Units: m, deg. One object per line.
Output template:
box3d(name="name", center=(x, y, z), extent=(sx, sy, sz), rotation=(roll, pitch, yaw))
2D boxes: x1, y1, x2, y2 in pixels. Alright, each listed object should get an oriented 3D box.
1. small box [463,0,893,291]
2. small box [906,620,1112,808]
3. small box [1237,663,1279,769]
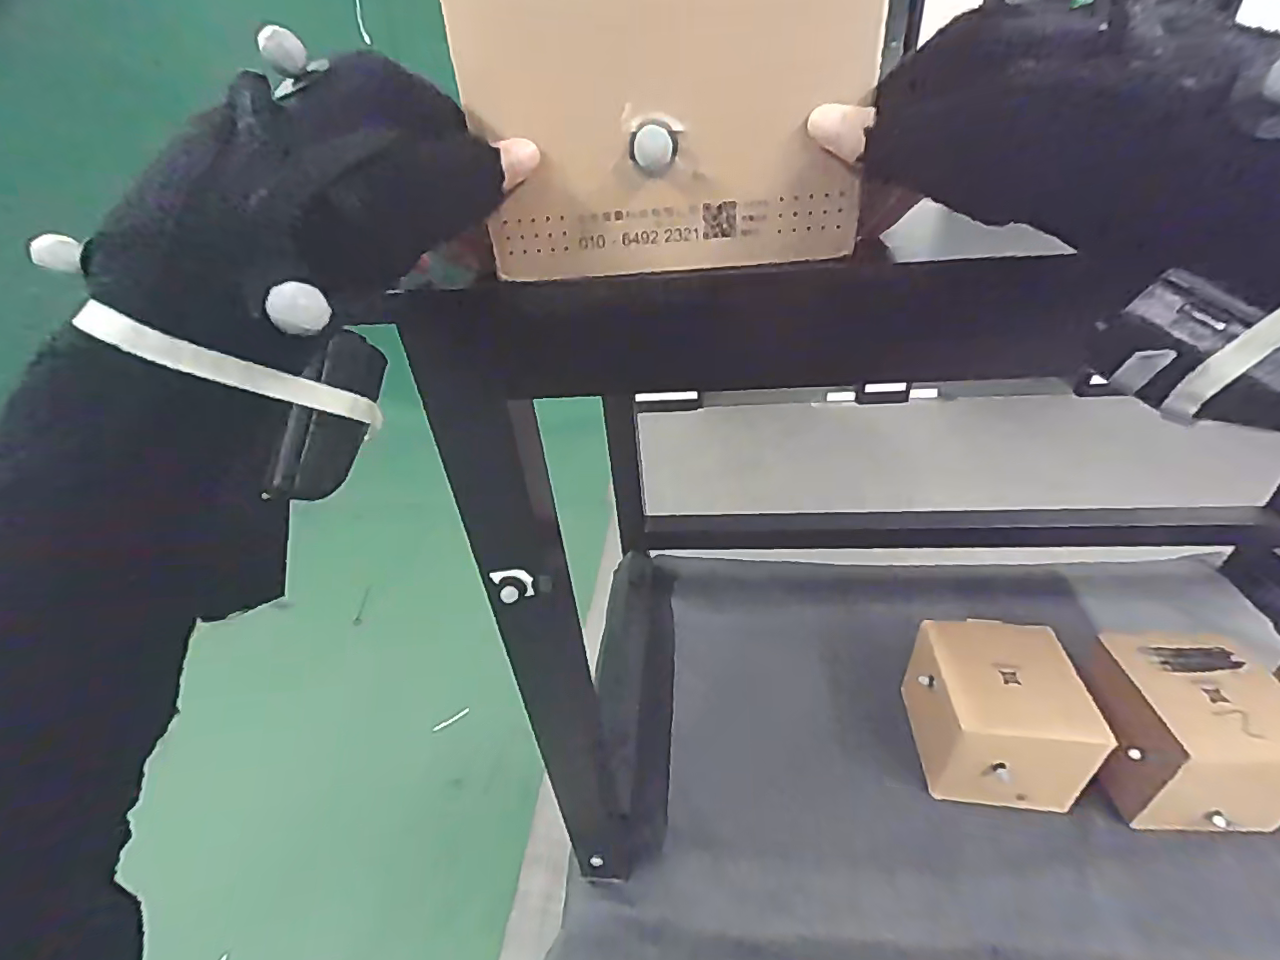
box3d(name="small box", center=(0.015, -0.205, 0.278), extent=(0.168, 0.176, 0.179), rotation=(-3, 35, 3))
box3d(name="small box", center=(0.484, 0.319, 0.744), extent=(0.168, 0.176, 0.179), rotation=(1, 34, 10))
box3d(name="small box", center=(0.924, 0.324, 0.660), extent=(0.168, 0.176, 0.179), rotation=(-2, 33, 5))
